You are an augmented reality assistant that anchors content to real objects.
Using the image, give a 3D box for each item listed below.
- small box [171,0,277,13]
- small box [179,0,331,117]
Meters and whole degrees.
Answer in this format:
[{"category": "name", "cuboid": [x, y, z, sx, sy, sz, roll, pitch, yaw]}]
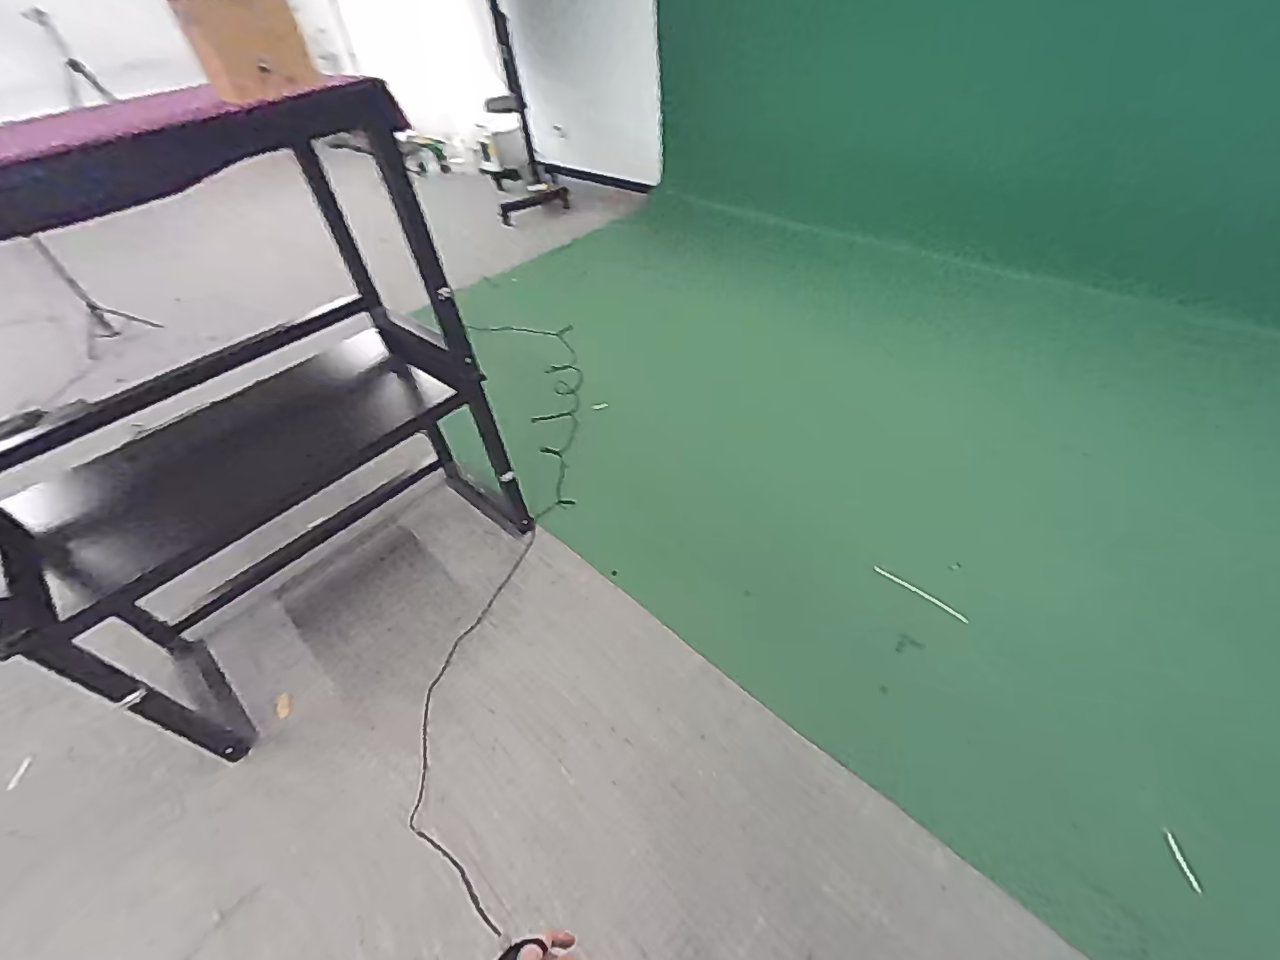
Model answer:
[{"category": "small box", "cuboid": [-0.787, -0.964, 0.976, 0.168, 0.176, 0.179, 32, 57, 31]}, {"category": "small box", "cuboid": [-0.774, -0.855, 1.099, 0.179, 0.176, 0.168, 32, 57, 32]}]
